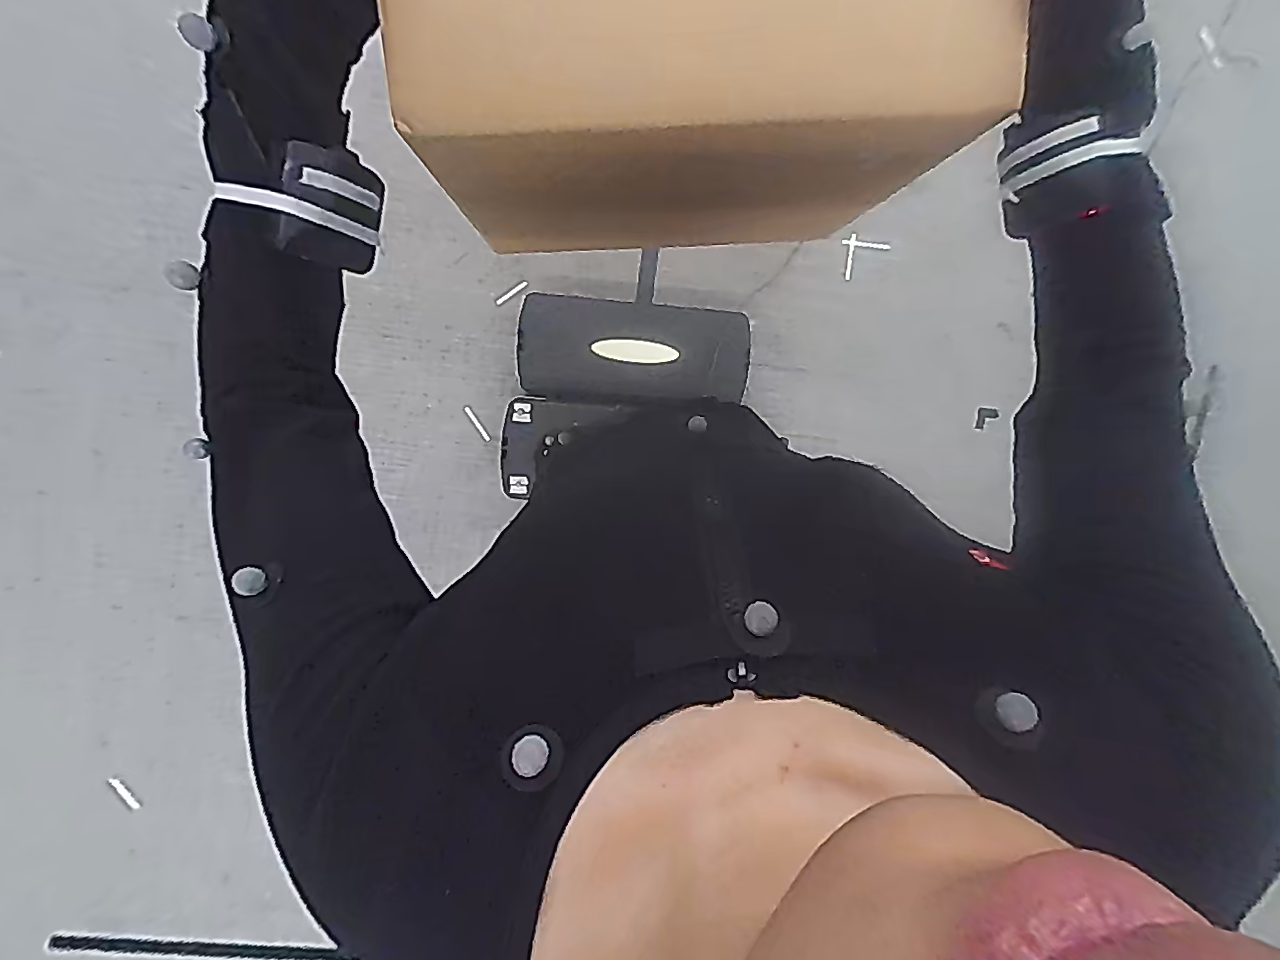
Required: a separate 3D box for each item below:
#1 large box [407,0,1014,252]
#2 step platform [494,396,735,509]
[{"bbox_3d":[0.032,-0.412,0.480,0.408,0.320,0.320,-5,100,-4],"label":"large box"},{"bbox_3d":[-0.071,-0.077,1.564,0.684,0.204,0.286,4,96,-3],"label":"step platform"}]
